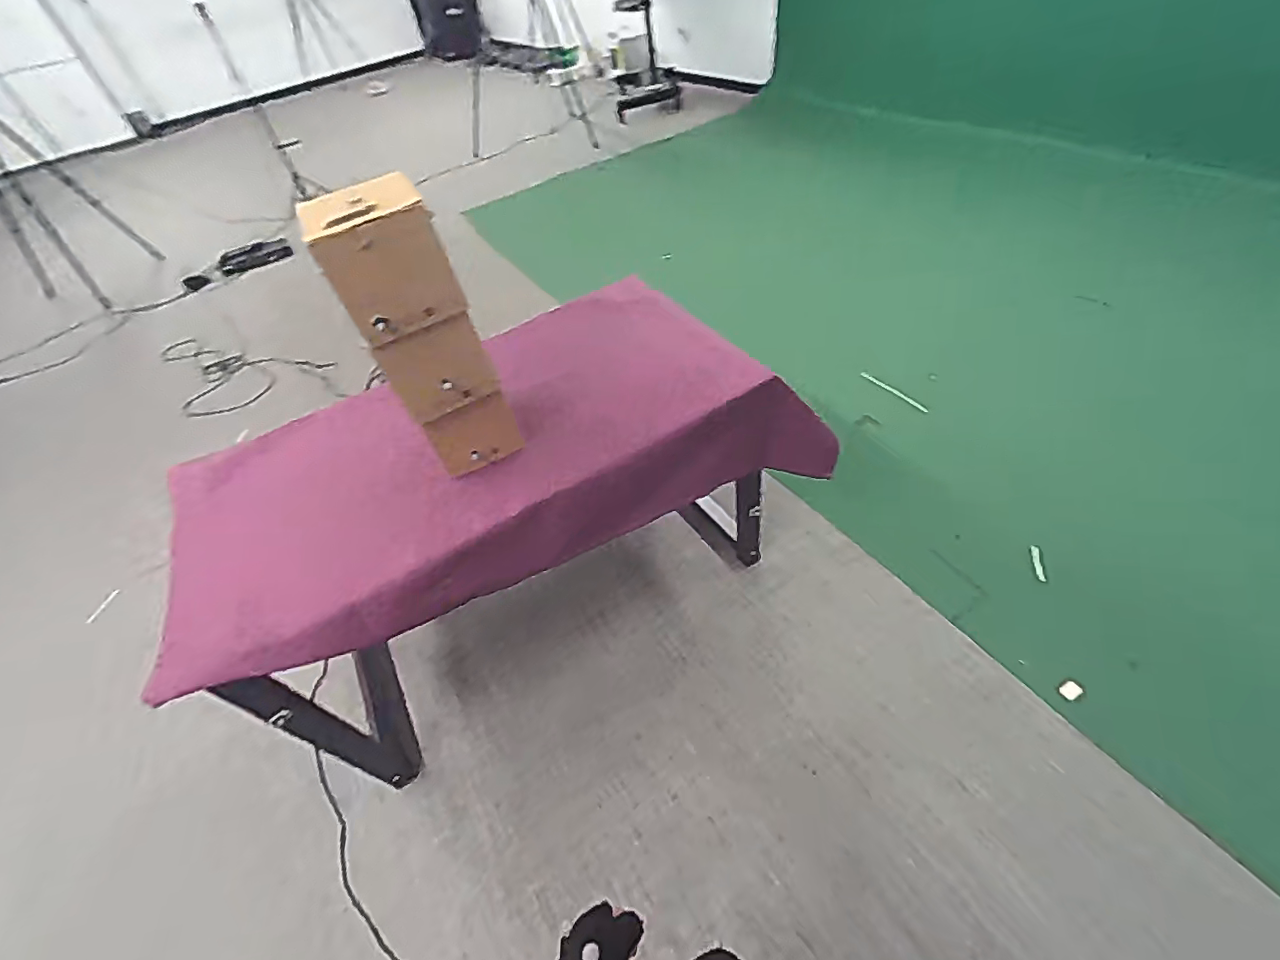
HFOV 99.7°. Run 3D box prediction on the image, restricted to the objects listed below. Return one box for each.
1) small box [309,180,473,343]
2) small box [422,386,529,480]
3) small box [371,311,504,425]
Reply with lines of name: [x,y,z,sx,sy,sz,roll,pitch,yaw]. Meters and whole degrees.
small box: [-0.383,-0.336,0.846,0.168,0.176,0.179,-27,48,-13]
small box: [-0.346,-0.132,1.101,0.168,0.176,0.179,-26,49,-12]
small box: [-0.367,-0.230,0.971,0.168,0.176,0.179,-28,49,-13]
